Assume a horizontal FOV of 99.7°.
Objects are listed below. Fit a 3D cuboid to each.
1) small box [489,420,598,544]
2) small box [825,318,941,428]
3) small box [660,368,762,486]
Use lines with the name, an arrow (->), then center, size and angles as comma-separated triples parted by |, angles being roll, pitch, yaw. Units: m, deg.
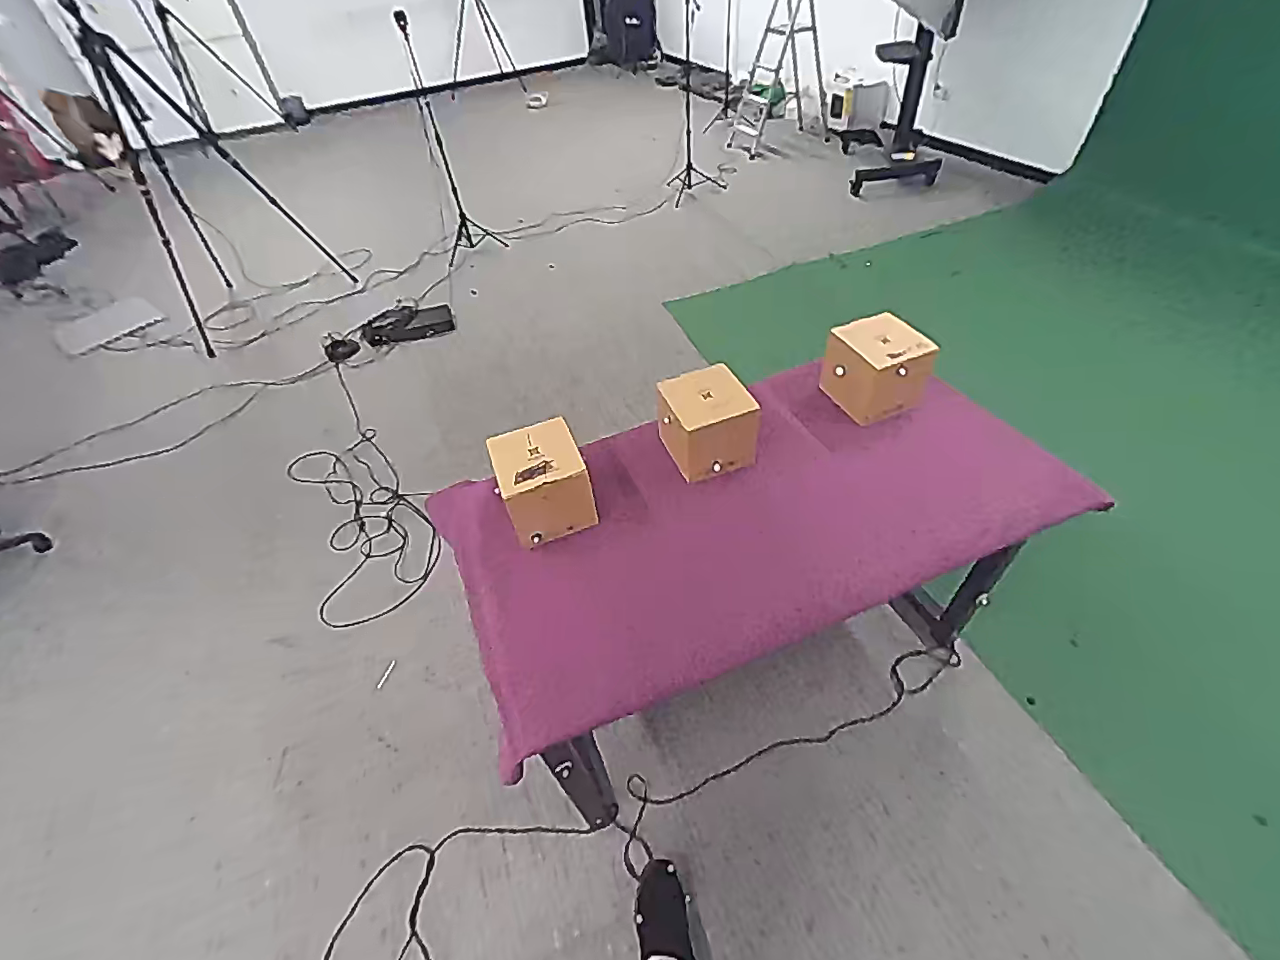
small box -> -0.194, 0.010, 1.112 | 0.168, 0.176, 0.179 | -18, 48, -12
small box -> 0.559, -0.251, 1.275 | 0.168, 0.176, 0.179 | -19, 47, -10
small box -> 0.151, -0.117, 1.198 | 0.168, 0.176, 0.179 | -18, 48, -9
